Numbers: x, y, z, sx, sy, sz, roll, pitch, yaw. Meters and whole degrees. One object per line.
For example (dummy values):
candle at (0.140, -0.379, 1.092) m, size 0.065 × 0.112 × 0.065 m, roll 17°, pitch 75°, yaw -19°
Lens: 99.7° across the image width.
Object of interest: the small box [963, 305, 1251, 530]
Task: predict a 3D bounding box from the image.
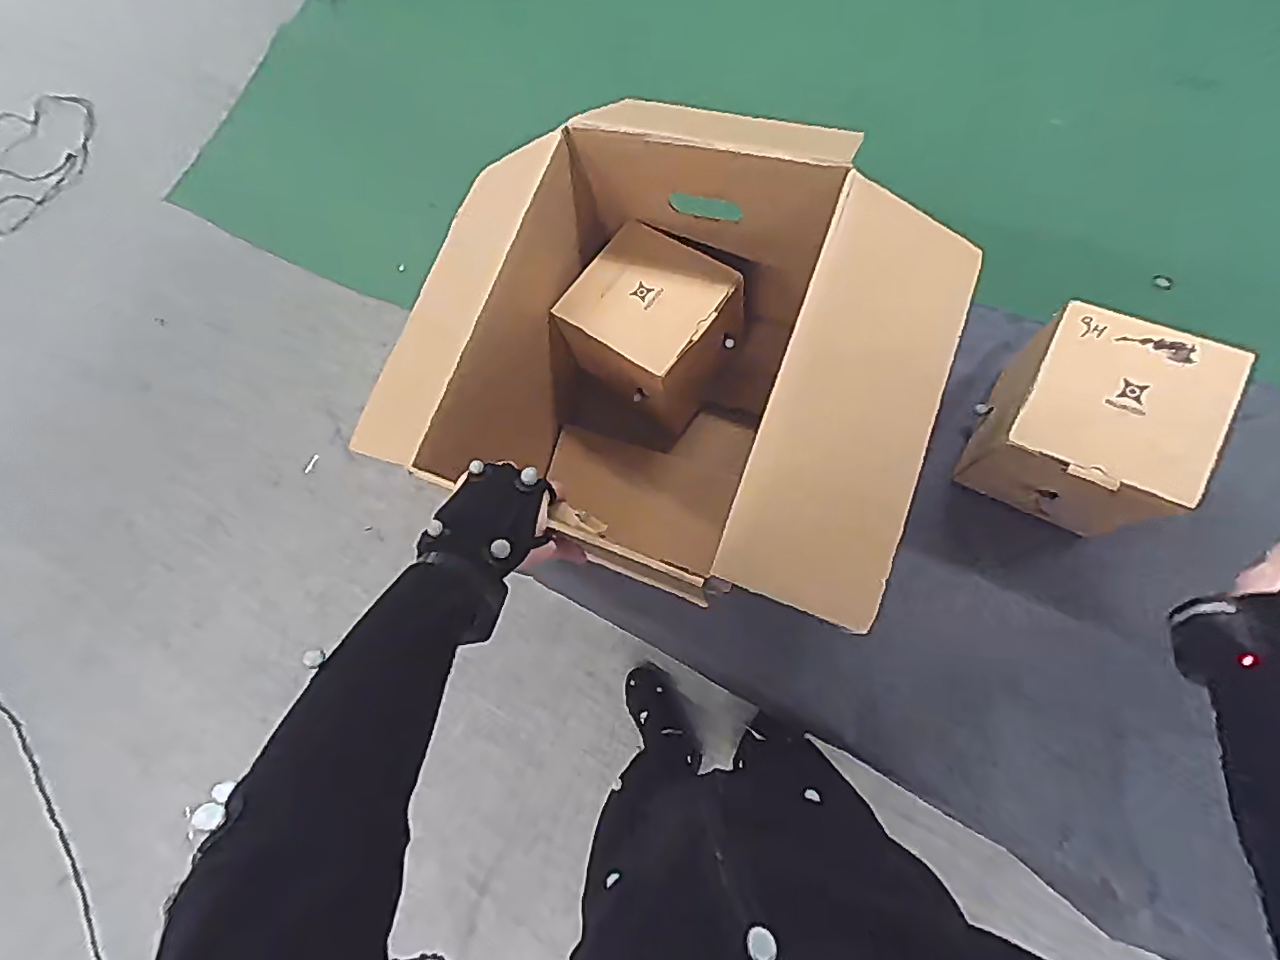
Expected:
small box at (0.503, -0.059, 0.618) m, size 0.168 × 0.176 × 0.179 m, roll 28°, pitch 84°, yaw 18°
